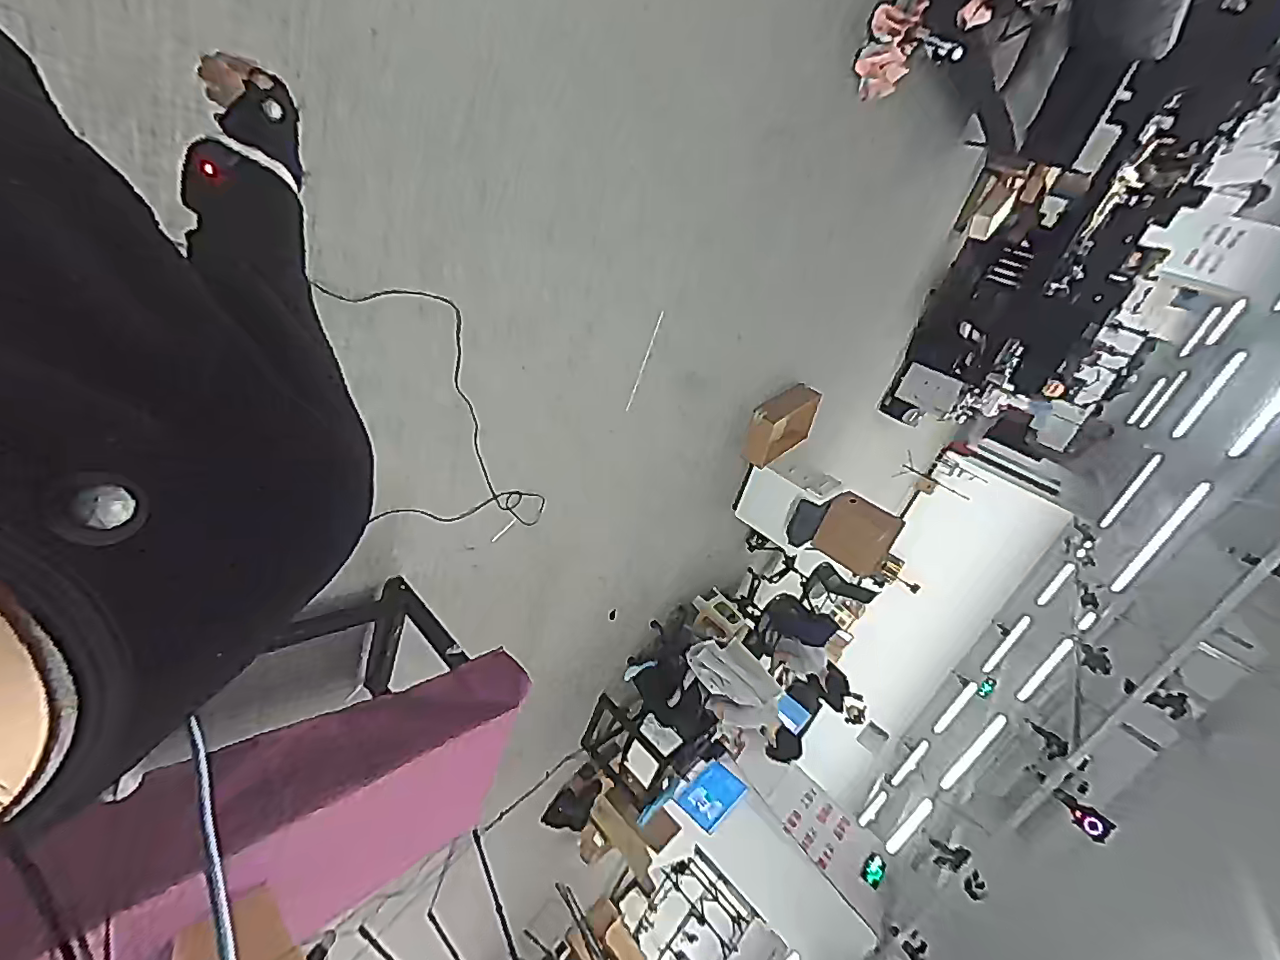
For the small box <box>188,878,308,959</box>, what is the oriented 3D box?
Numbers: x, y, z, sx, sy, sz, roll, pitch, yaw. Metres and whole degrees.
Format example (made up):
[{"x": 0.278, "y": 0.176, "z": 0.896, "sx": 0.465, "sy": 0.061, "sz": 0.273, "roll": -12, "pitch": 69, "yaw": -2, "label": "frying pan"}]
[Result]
[{"x": -0.873, "y": 1.049, "z": 1.197, "sx": 0.179, "sy": 0.176, "sz": 0.168, "roll": -7, "pitch": 126, "yaw": -51, "label": "small box"}]
